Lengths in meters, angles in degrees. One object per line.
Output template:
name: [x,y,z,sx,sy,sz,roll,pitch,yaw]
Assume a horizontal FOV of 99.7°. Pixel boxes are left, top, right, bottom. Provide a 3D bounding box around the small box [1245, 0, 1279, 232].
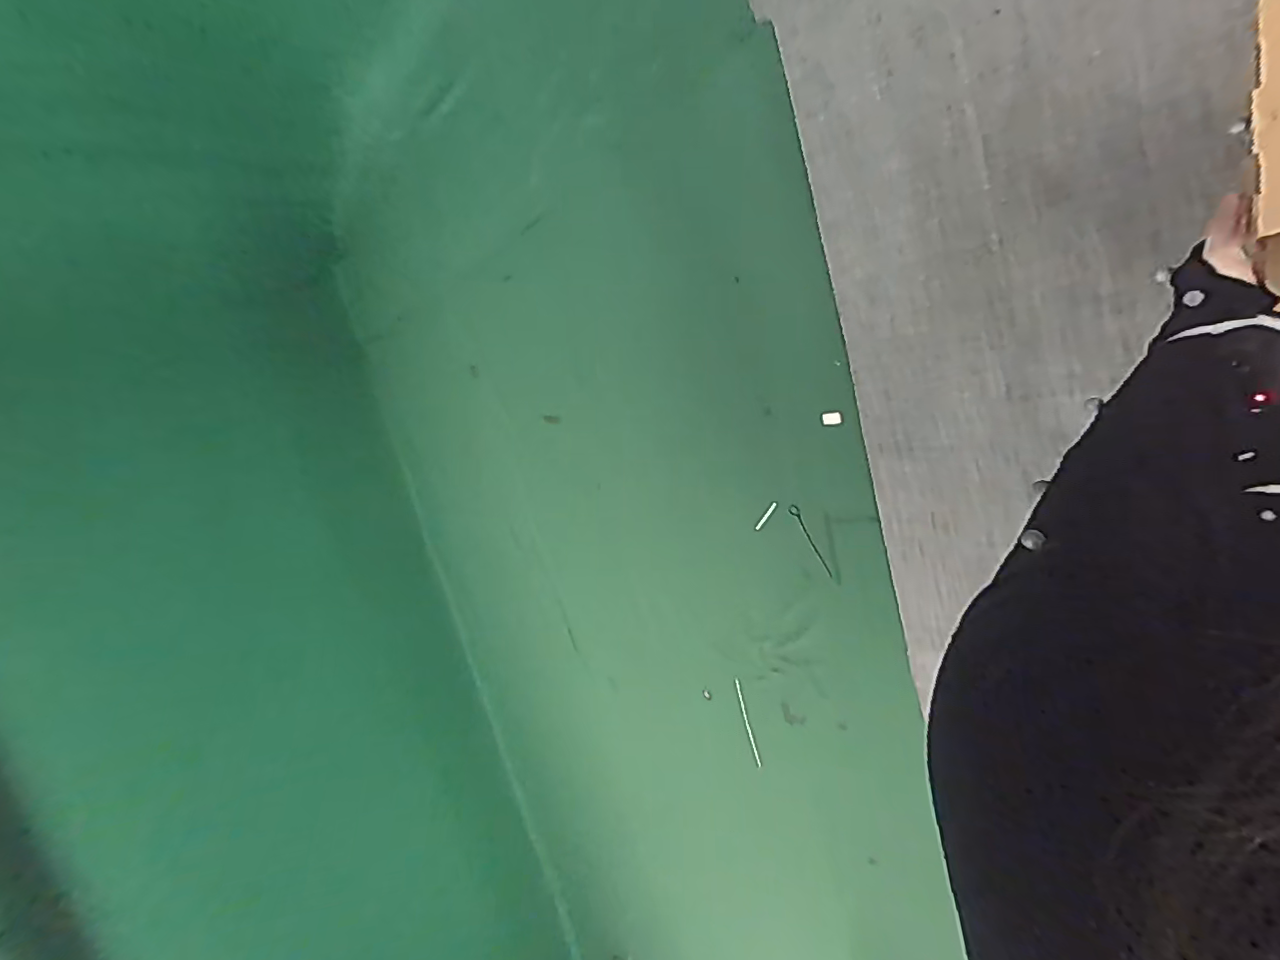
small box: [0.574,-0.294,0.392,0.179,0.176,0.168,0,107,48]
